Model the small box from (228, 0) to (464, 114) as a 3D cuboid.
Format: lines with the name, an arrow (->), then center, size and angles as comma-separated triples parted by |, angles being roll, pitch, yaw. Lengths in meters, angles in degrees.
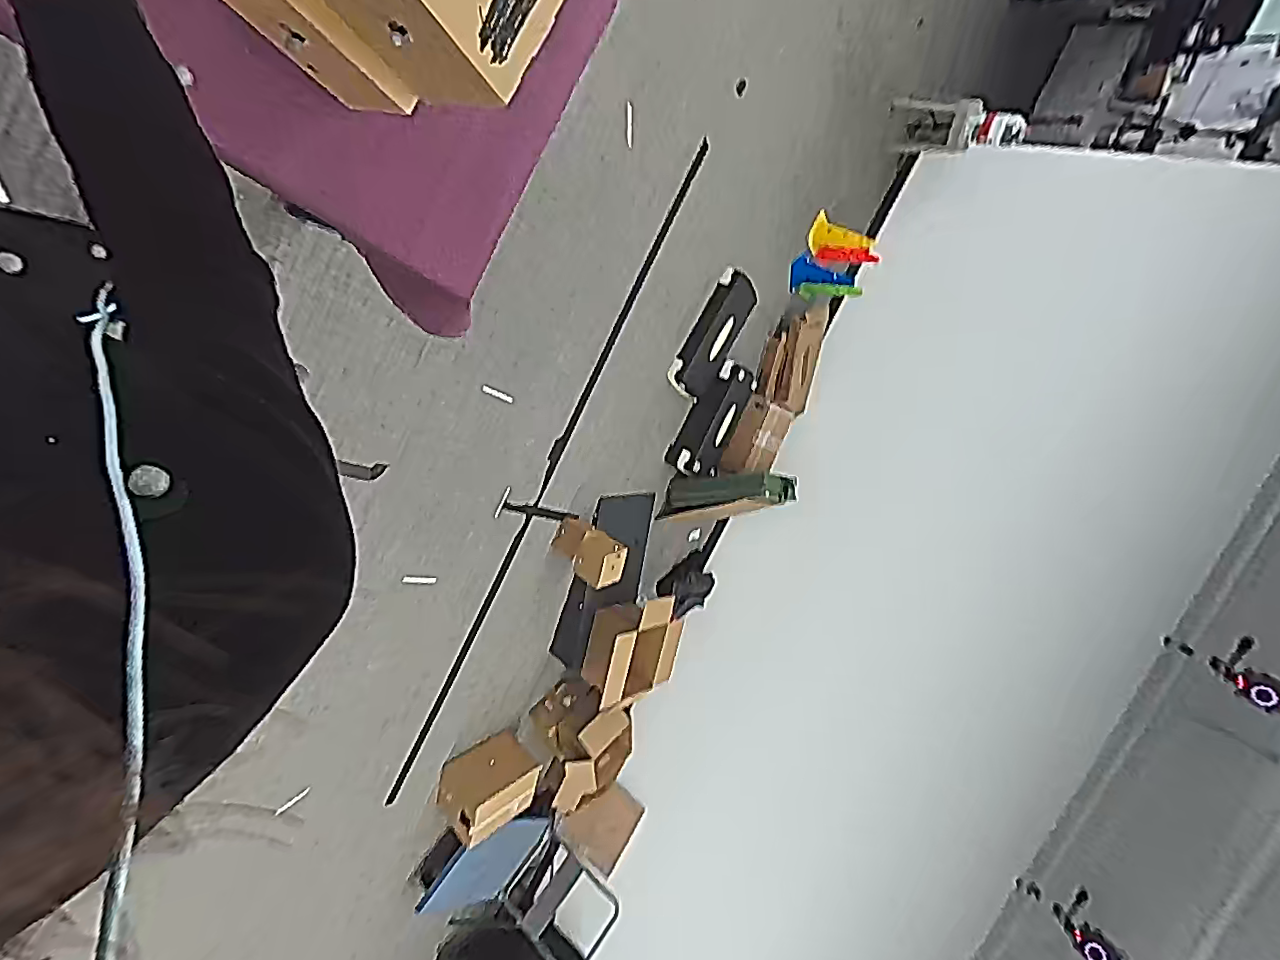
small box -> -0.338, -0.559, 0.615 | 0.168, 0.176, 0.179 | 24, 93, -57
